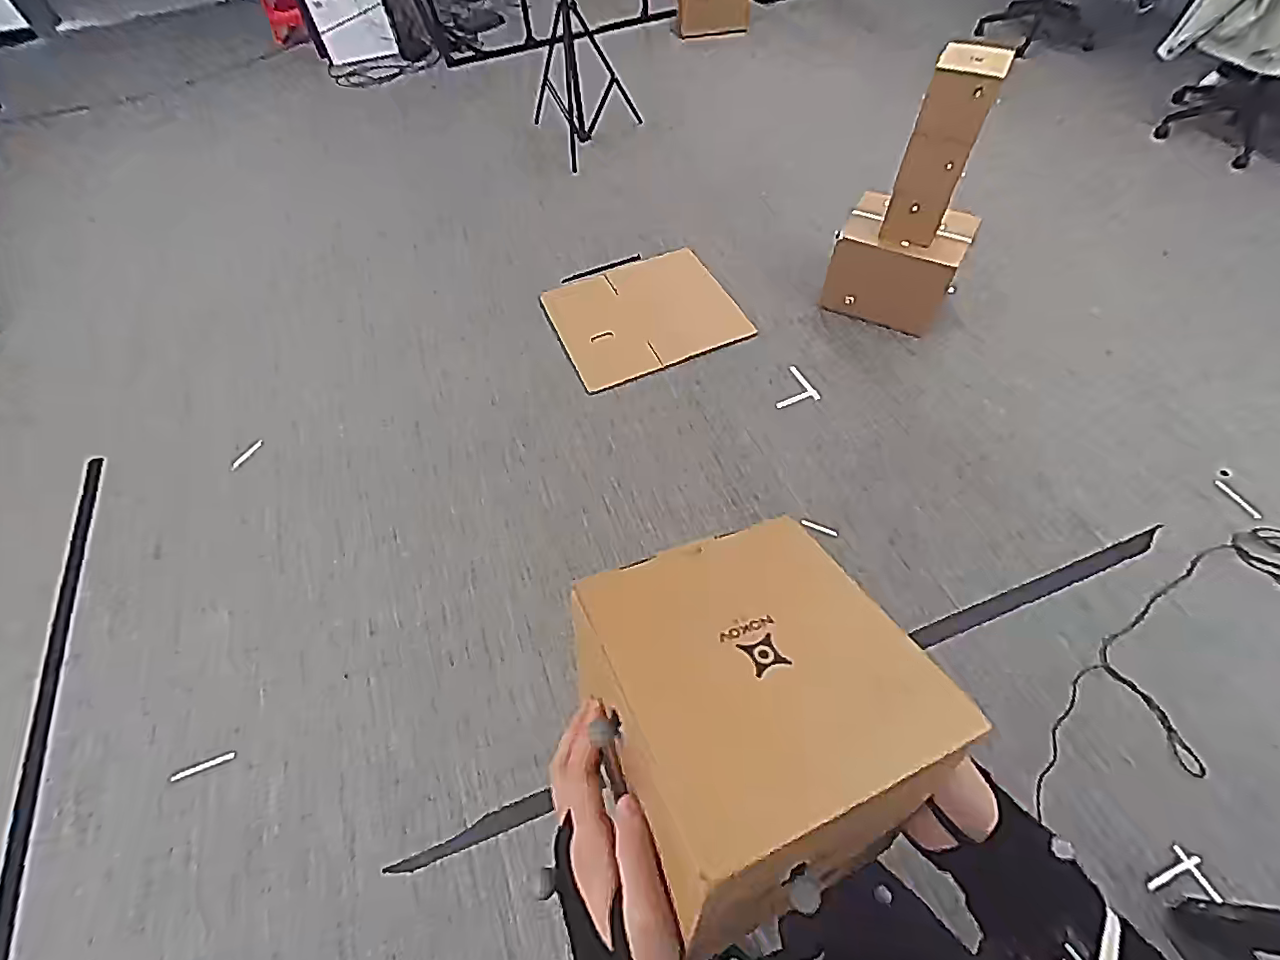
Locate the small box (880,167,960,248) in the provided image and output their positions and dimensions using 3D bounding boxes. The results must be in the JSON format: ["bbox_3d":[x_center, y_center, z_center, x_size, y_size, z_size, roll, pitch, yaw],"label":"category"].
[{"bbox_3d":[0.924,-0.902,1.799,0.179,0.176,0.168,23,63,16],"label":"small box"}]

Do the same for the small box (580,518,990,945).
[{"bbox_3d":[0.069,0.159,0.354,0.168,0.176,0.179,-14,40,-20],"label":"small box"}]

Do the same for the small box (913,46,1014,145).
[{"bbox_3d":[0.902,-1.075,1.519,0.179,0.176,0.168,23,62,17],"label":"small box"}]
